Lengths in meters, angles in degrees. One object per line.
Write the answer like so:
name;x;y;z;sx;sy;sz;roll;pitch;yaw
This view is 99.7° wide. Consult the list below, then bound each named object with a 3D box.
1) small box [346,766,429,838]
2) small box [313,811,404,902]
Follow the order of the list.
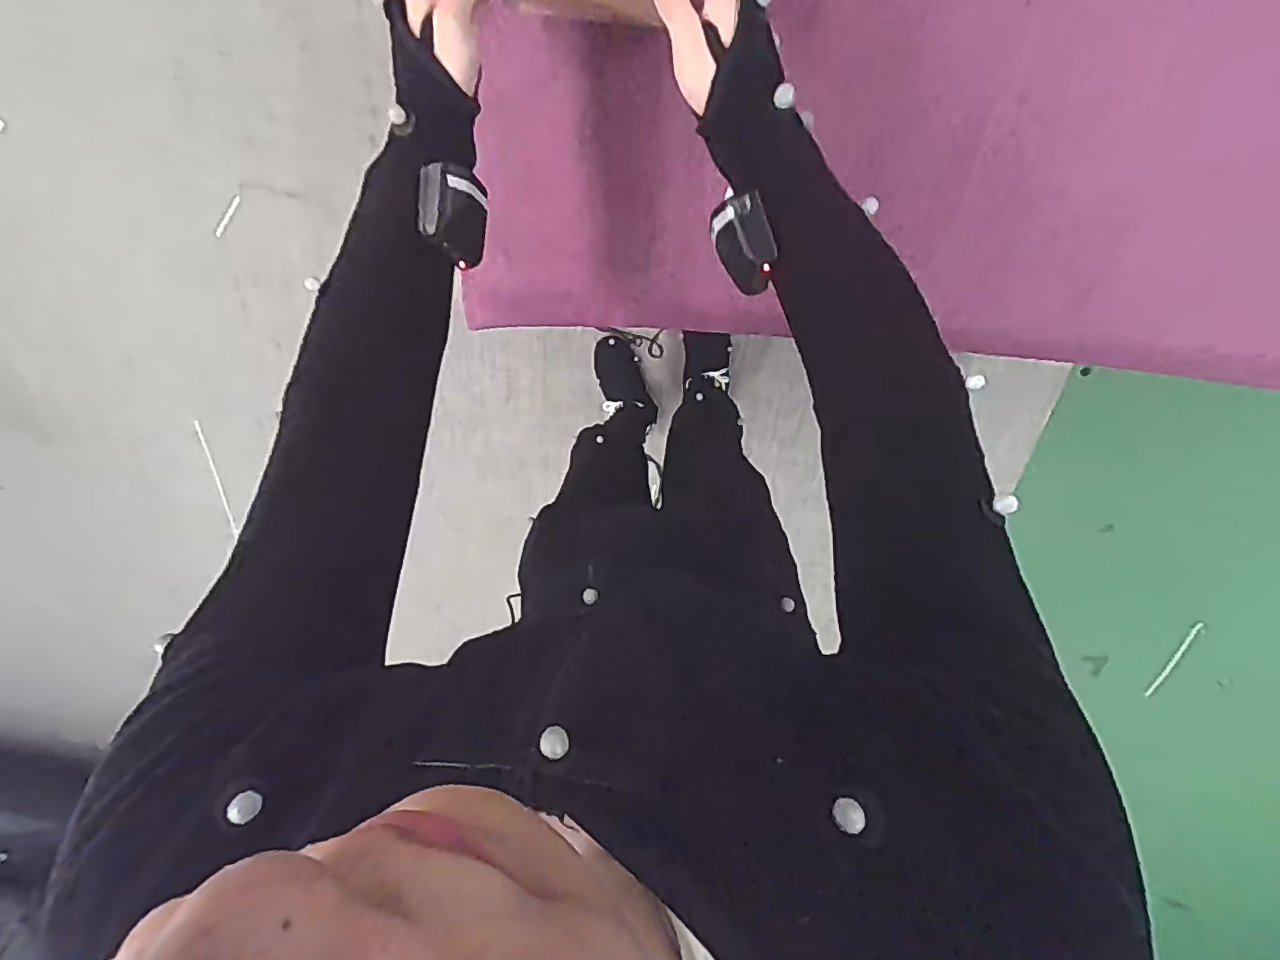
small box;-0.891;1.163;1.927;0.179;0.176;0.168;-37;106;23
small box;-0.916;1.235;1.779;0.179;0.176;0.168;-38;106;22
